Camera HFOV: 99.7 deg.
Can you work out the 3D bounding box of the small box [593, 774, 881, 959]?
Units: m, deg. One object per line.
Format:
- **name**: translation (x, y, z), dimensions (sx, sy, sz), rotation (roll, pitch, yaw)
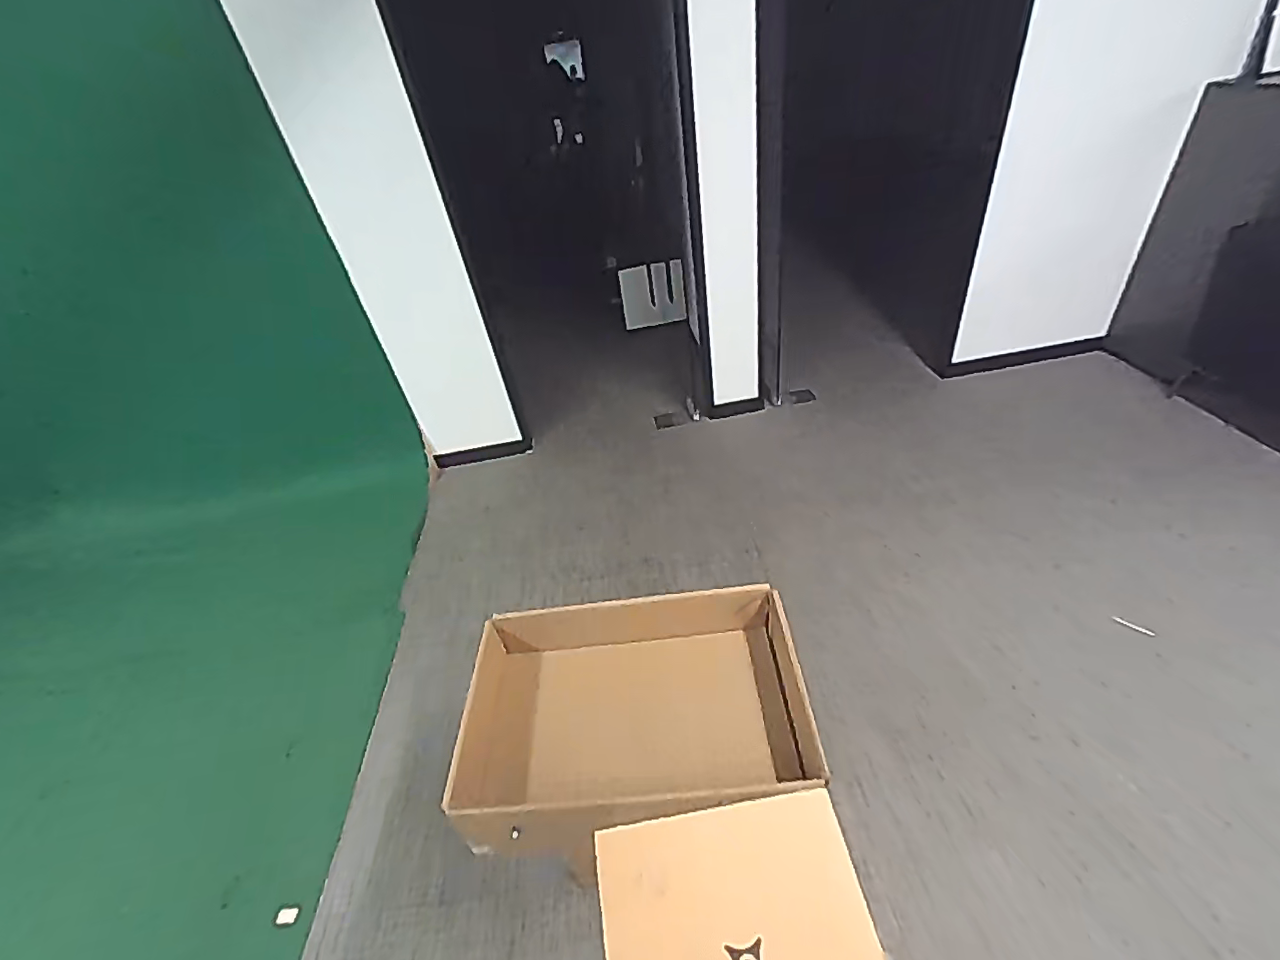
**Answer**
- **small box**: translation (0.060, 0.337, 0.383), dimensions (0.168, 0.176, 0.179), rotation (-8, 49, -7)
